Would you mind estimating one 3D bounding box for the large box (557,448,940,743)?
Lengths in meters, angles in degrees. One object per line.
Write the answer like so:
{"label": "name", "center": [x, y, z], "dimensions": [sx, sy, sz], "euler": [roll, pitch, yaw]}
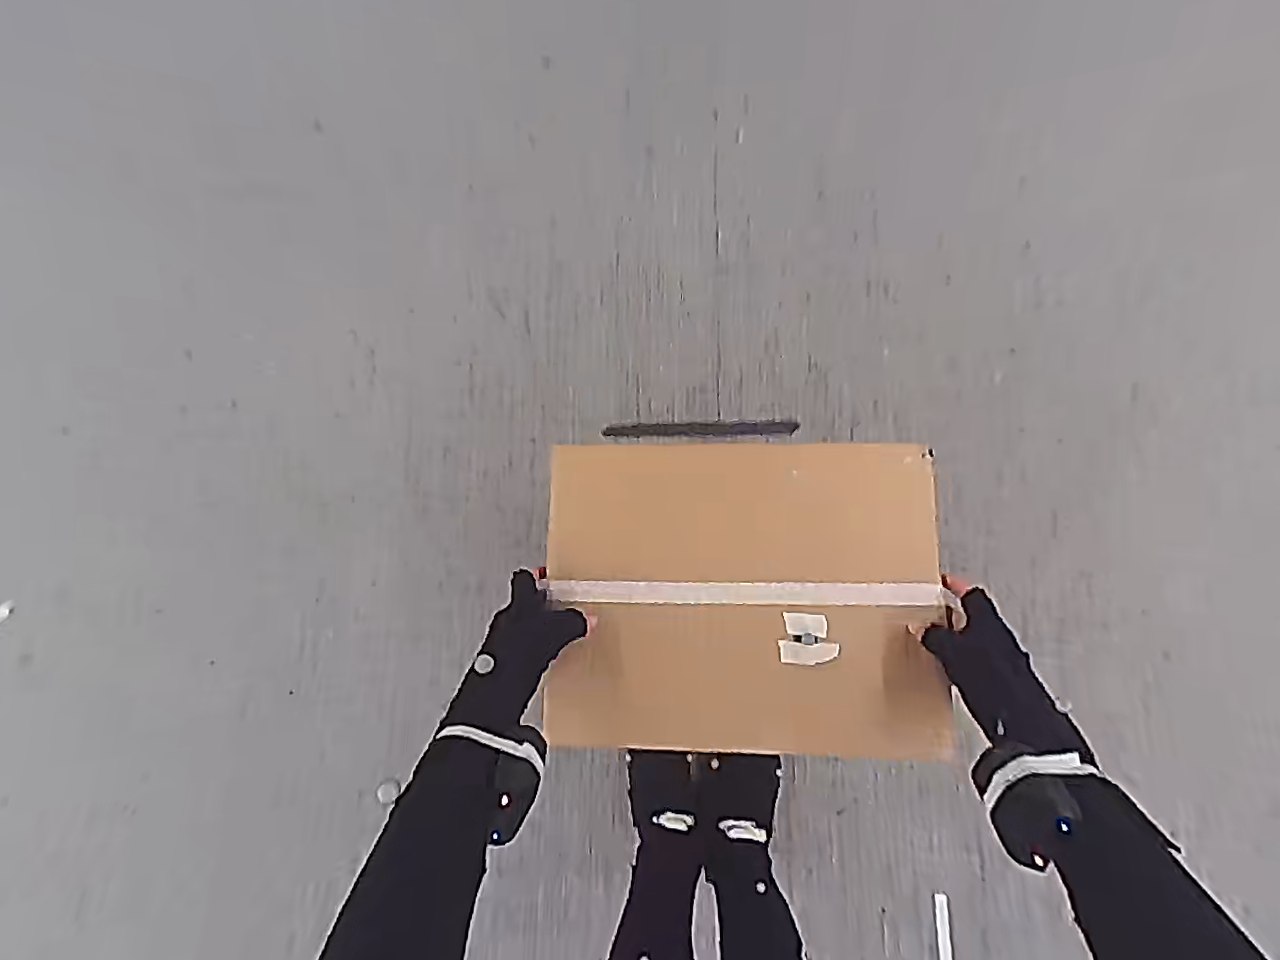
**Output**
{"label": "large box", "center": [0.116, 0.143, 0.731], "dimensions": [0.408, 0.320, 0.320], "euler": [0, 82, 4]}
